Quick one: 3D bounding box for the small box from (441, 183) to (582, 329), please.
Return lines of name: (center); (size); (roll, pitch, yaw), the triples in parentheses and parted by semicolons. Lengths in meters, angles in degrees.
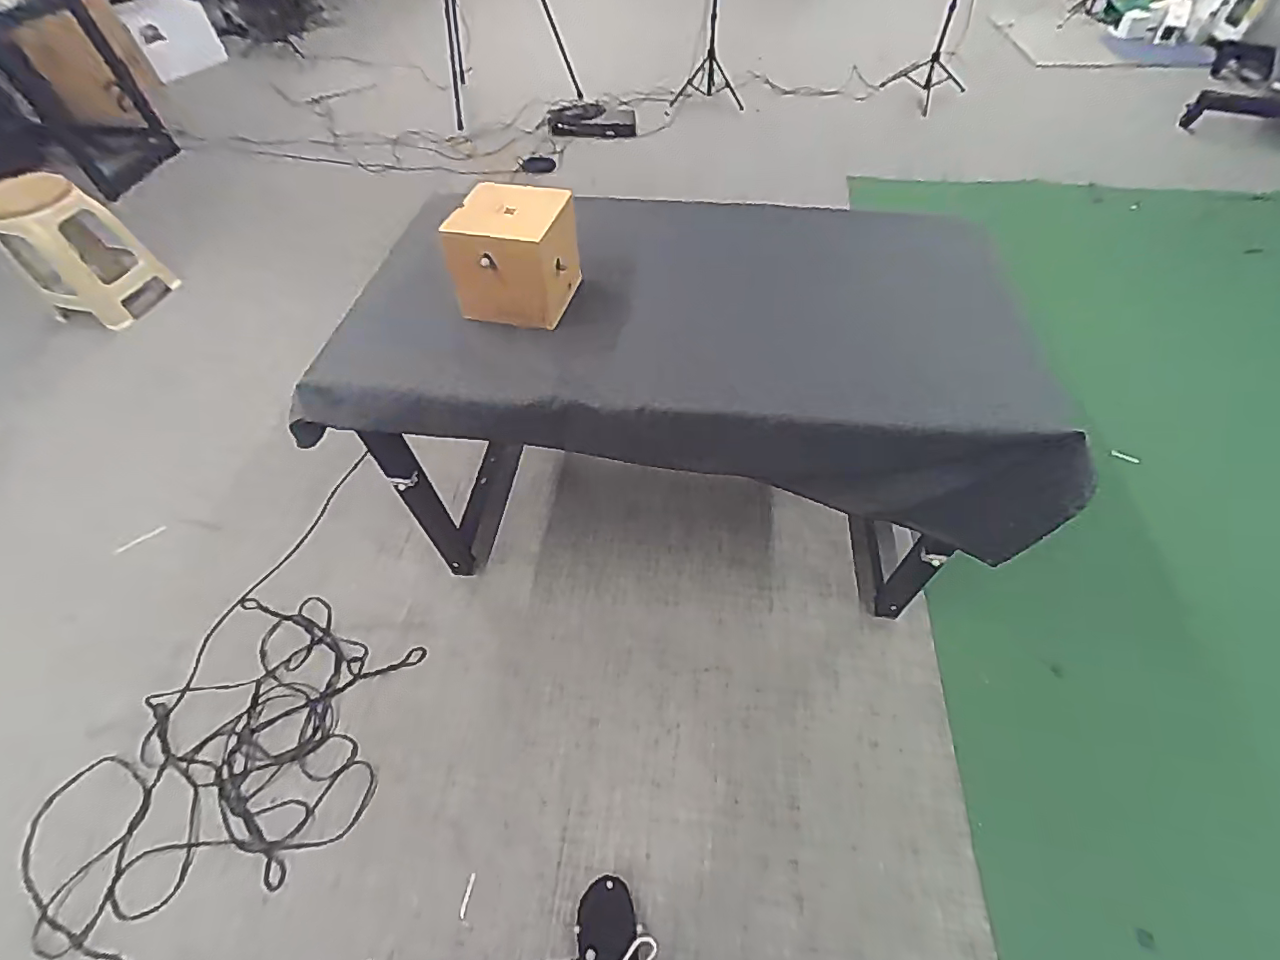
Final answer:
small box: (-0.210, -0.387, 0.945); (0.179, 0.176, 0.168); (11, 54, 9)
